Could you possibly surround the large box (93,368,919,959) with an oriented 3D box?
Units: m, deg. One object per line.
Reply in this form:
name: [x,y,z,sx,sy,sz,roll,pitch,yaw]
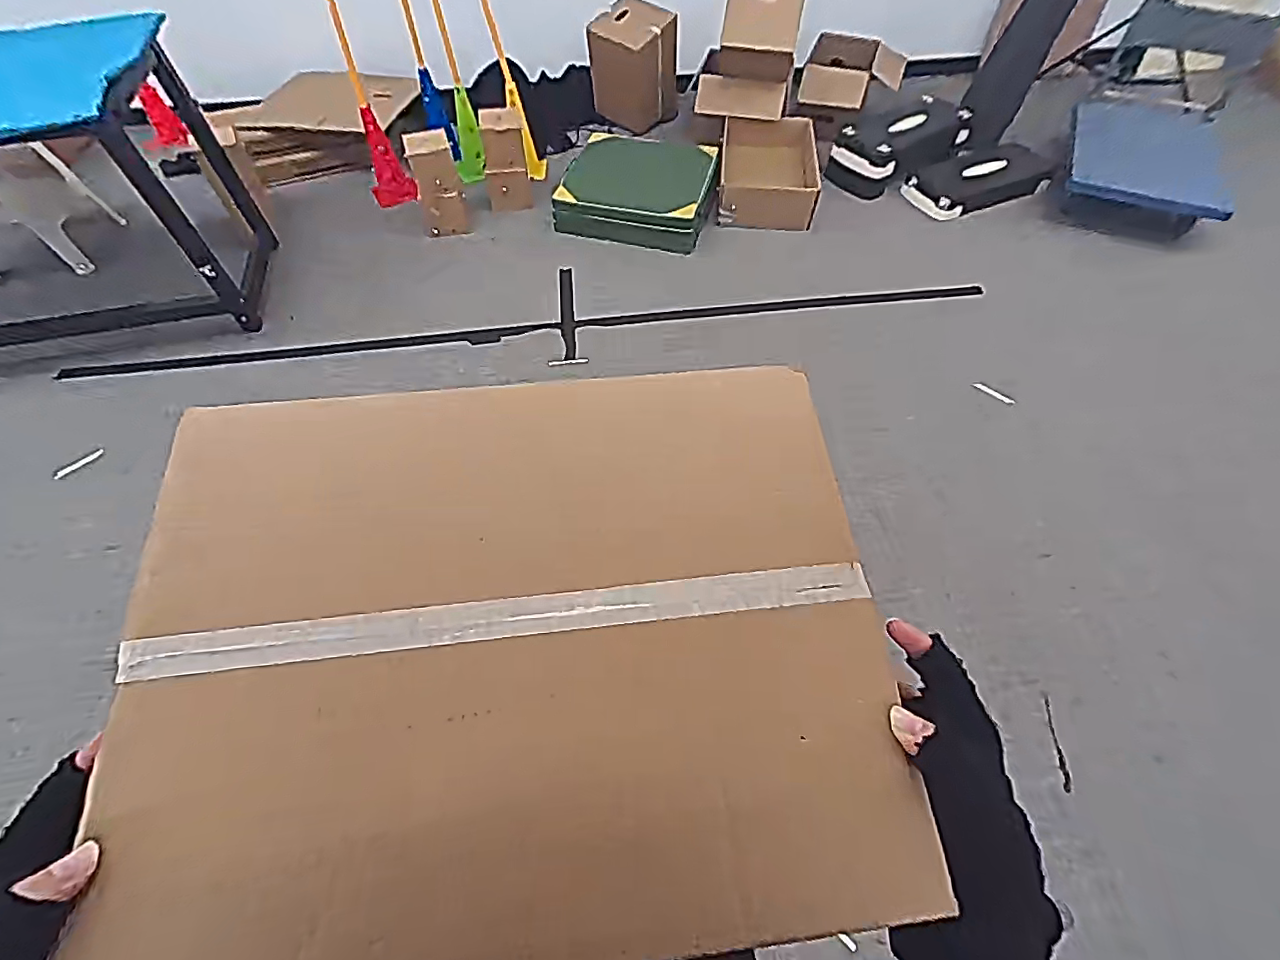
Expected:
large box: [-0.077,0.138,0.453,0.408,0.320,0.320,-5,67,-5]
